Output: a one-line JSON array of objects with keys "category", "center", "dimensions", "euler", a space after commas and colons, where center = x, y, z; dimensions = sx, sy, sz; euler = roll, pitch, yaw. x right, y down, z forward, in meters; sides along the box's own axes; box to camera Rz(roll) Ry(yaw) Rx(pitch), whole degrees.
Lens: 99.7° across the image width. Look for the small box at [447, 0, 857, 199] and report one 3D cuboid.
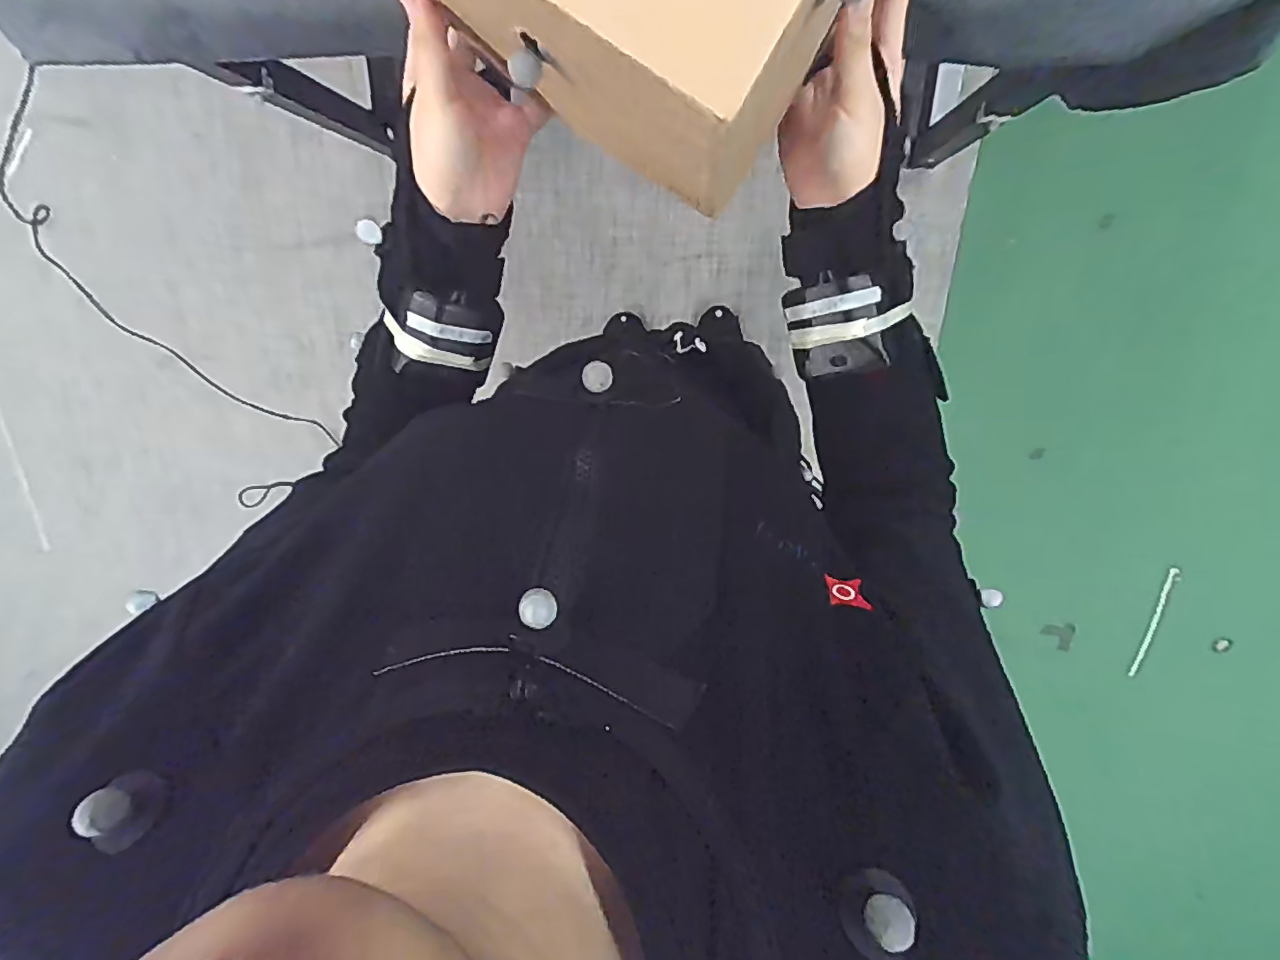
[{"category": "small box", "center": [0.010, -0.254, 0.234], "dimensions": [0.179, 0.176, 0.168], "euler": [32, 107, -2]}]
